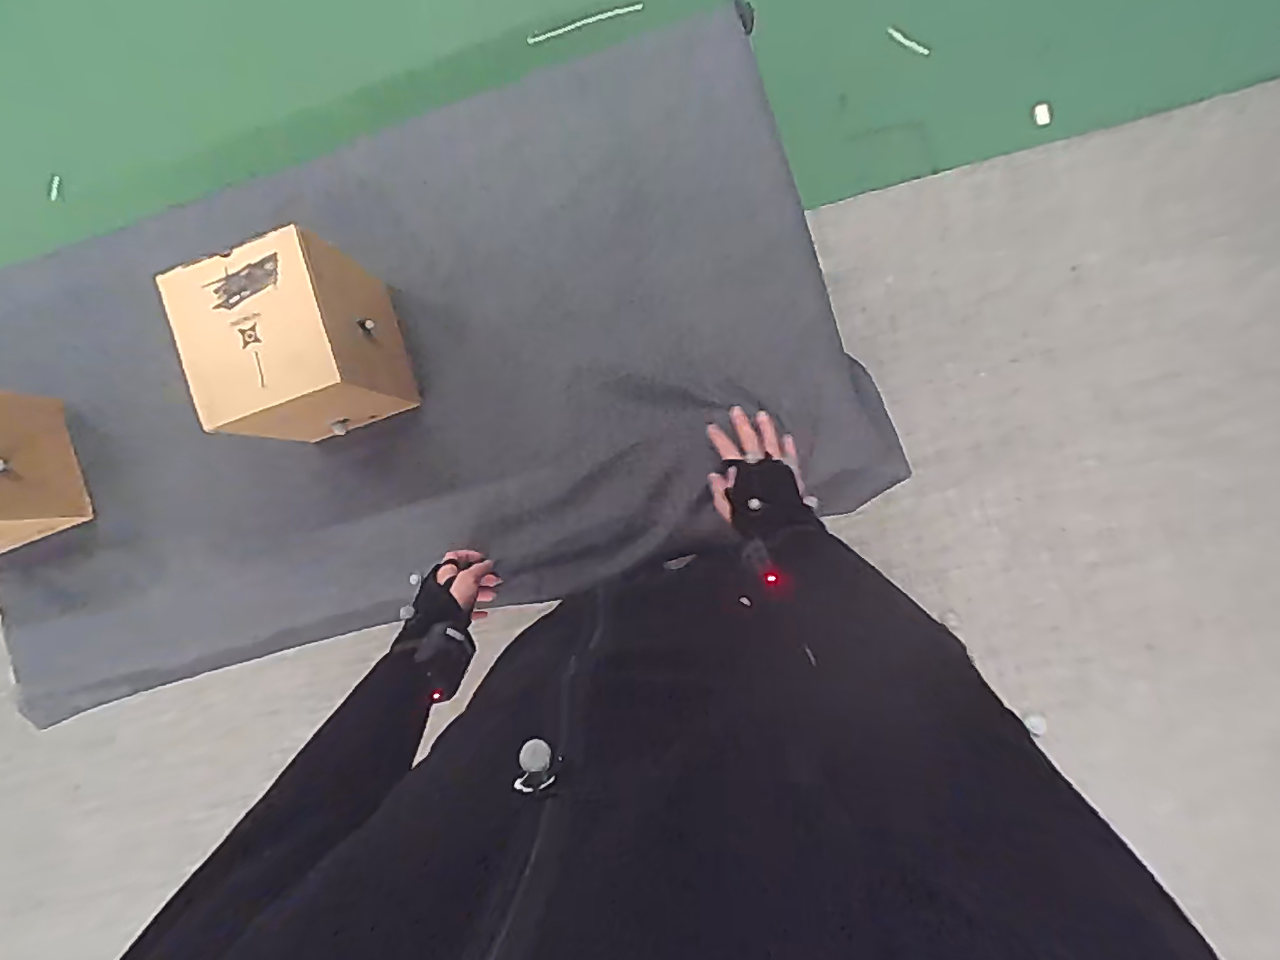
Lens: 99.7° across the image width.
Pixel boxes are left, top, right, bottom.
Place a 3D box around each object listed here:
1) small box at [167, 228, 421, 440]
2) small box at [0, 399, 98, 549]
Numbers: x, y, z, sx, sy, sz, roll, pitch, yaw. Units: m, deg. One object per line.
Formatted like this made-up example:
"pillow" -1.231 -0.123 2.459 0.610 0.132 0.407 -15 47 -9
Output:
"small box" -0.394 -0.157 0.646 0.168 0.176 0.179 -18 89 6
"small box" -0.867 -0.003 0.695 0.168 0.176 0.179 -20 88 5
